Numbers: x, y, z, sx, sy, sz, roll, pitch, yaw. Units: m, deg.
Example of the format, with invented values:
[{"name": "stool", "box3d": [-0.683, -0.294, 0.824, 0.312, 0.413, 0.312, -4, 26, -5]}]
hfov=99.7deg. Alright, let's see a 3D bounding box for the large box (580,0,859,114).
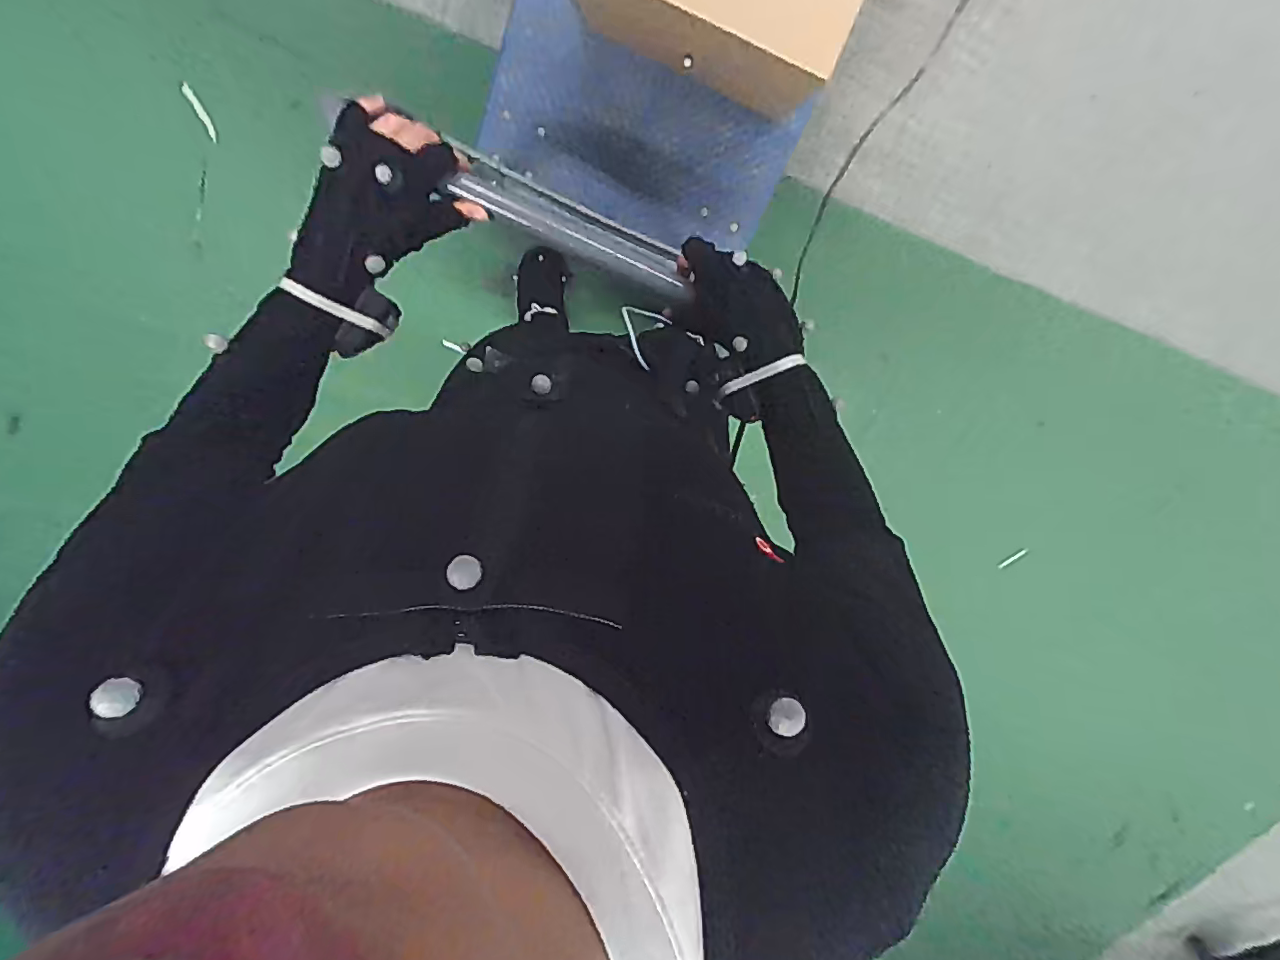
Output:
[{"name": "large box", "box3d": [0.139, -0.830, 0.826, 0.408, 0.320, 0.320, 19, 112, -8]}]
